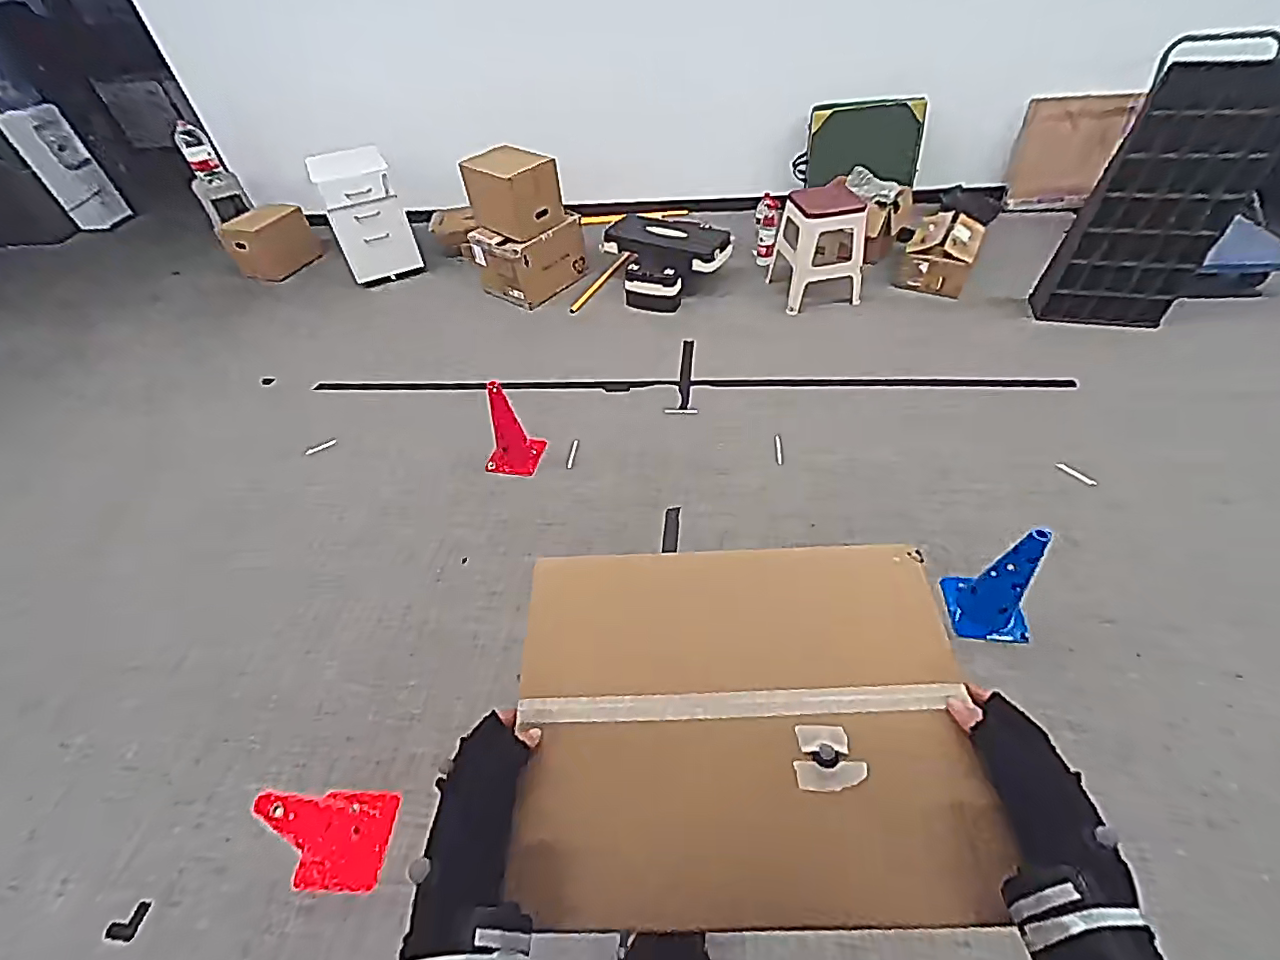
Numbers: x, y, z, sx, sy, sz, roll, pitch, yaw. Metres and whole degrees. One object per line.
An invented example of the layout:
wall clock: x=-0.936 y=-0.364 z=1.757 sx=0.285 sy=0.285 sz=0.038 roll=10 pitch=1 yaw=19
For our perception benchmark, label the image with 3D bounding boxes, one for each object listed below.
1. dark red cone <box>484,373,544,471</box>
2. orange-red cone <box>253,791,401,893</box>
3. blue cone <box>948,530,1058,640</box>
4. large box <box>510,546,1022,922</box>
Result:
dark red cone: x=-0.501 y=-0.224 z=2.005 sx=0.201 sy=0.394 sz=0.202 roll=6 pitch=48 yaw=10
orange-red cone: x=-0.700 y=0.740 z=1.156 sx=0.198 sy=0.360 sz=0.199 roll=-1 pitch=48 yaw=6
blue cone: x=0.998 y=0.261 z=1.451 sx=0.192 sy=0.380 sz=0.193 roll=4 pitch=48 yaw=8
large box: x=0.097 y=0.293 z=0.620 sx=0.408 sy=0.320 sz=0.320 roll=-2 pitch=54 yaw=2
